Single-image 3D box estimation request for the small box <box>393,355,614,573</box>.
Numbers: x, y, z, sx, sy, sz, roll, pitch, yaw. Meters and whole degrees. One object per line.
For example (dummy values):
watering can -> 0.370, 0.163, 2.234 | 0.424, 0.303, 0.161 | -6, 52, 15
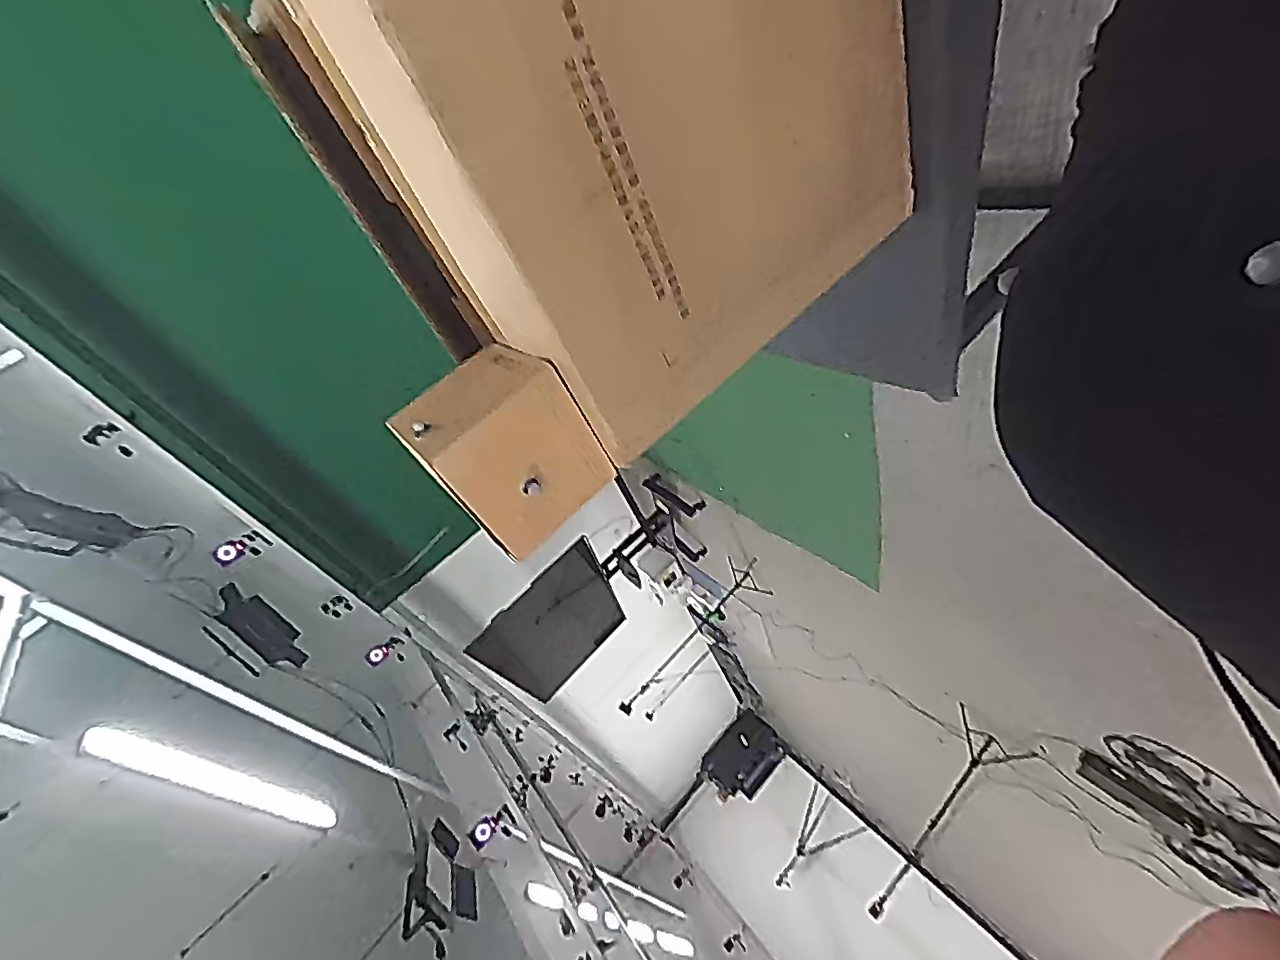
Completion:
small box -> -0.161, -0.026, 0.668 | 0.168, 0.176, 0.179 | 28, 155, 48
